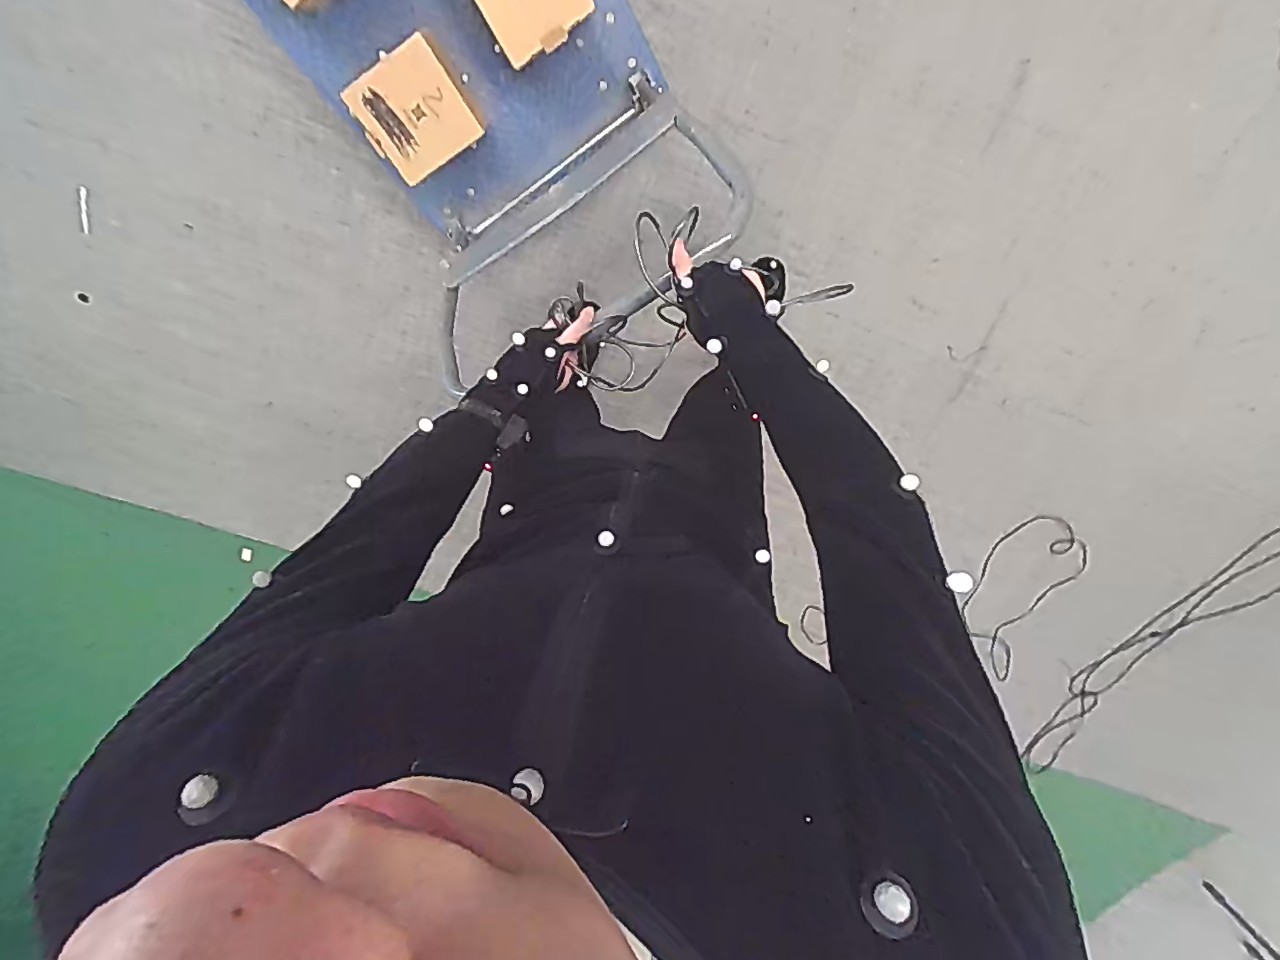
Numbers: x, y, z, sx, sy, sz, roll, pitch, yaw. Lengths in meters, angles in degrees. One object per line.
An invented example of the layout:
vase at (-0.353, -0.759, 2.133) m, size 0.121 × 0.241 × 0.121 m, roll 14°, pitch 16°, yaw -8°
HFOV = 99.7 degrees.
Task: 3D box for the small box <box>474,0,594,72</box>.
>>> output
small box at (-0.197, -0.836, 0.915) m, size 0.168 × 0.176 × 0.179 m, roll -27°, pitch 130°, yaw 13°

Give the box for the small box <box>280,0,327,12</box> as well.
small box at (-0.534, -0.867, 0.824) m, size 0.168 × 0.176 × 0.179 m, roll -32°, pitch 128°, yaw 16°
